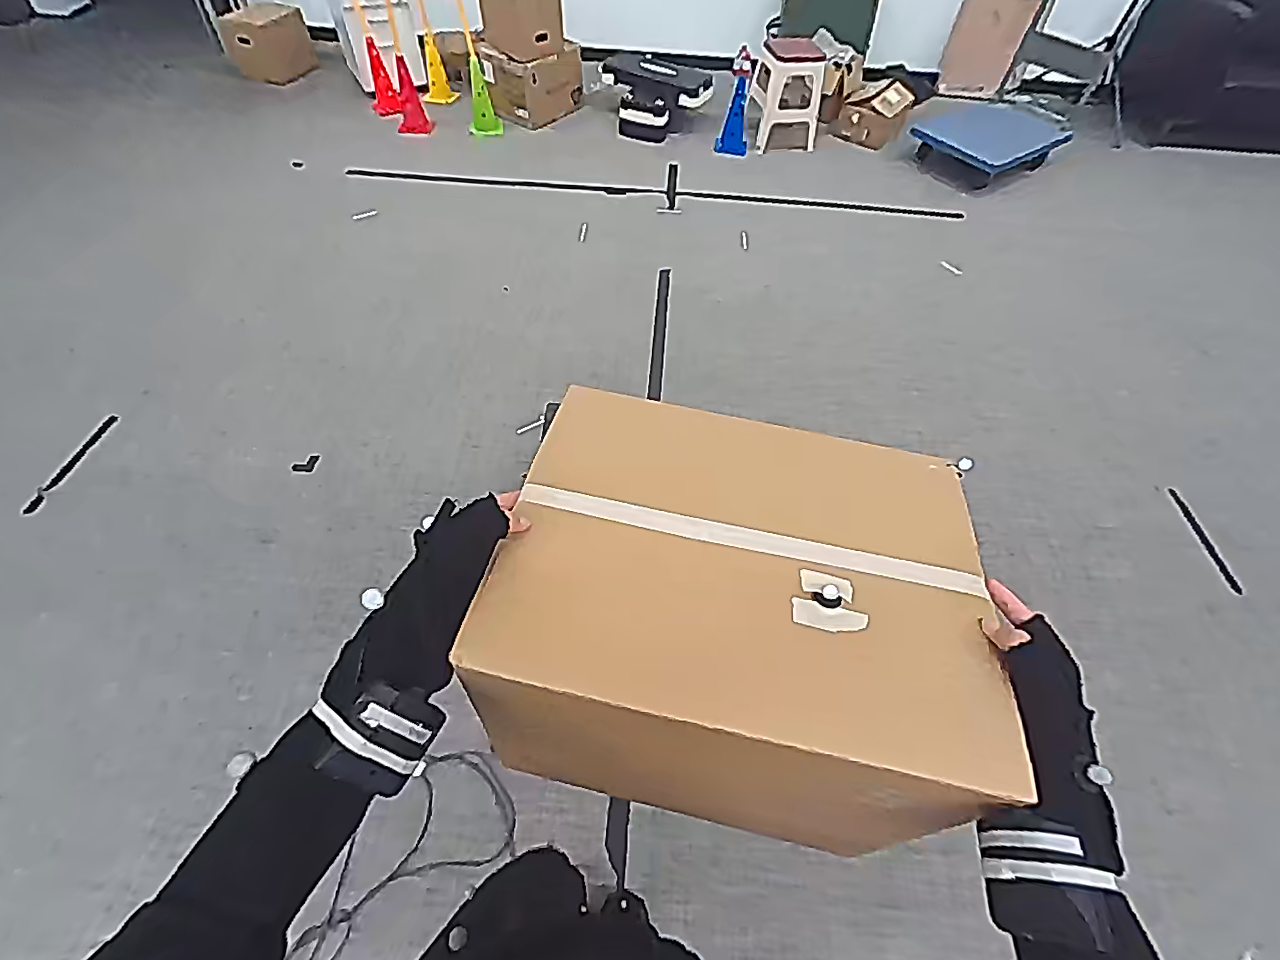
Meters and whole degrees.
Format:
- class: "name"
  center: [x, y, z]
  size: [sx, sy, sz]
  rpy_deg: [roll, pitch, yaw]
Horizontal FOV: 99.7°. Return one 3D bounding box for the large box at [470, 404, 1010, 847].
- class: "large box"
  center: [0.080, 0.161, 0.595]
  size: [0.408, 0.320, 0.320]
  rpy_deg: [12, 50, 4]
